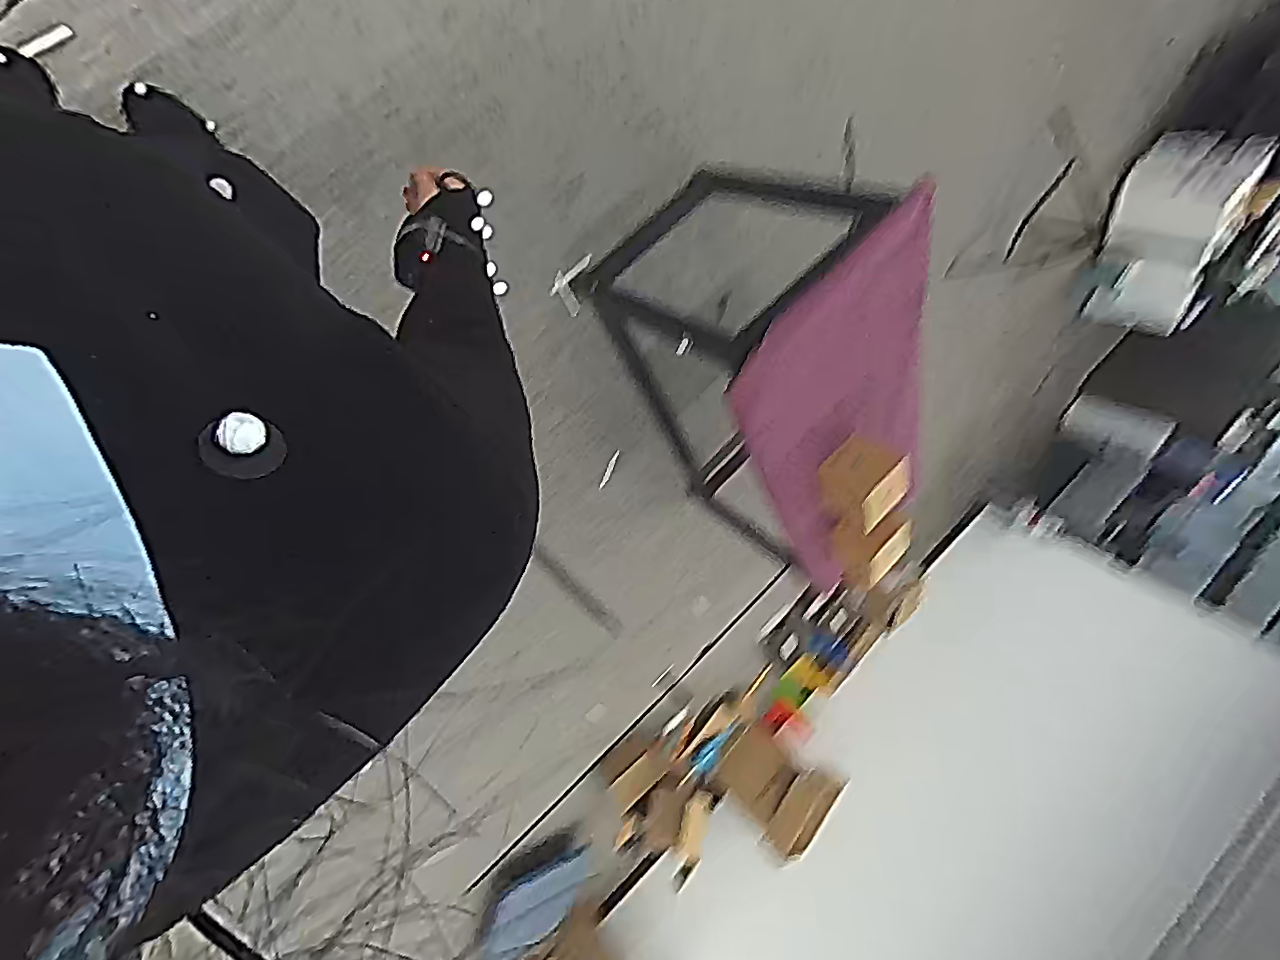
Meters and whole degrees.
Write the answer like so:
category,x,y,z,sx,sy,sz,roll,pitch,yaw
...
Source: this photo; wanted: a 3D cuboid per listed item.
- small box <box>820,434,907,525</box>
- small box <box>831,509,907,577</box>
category,x,y,z,sx,sy,sz,roll,pitch,yaw
small box,0.640,-0.011,1.556,0.168,0.176,0.179,-41,138,-10
small box,0.761,0.183,1.801,0.168,0.176,0.179,-42,137,-11
